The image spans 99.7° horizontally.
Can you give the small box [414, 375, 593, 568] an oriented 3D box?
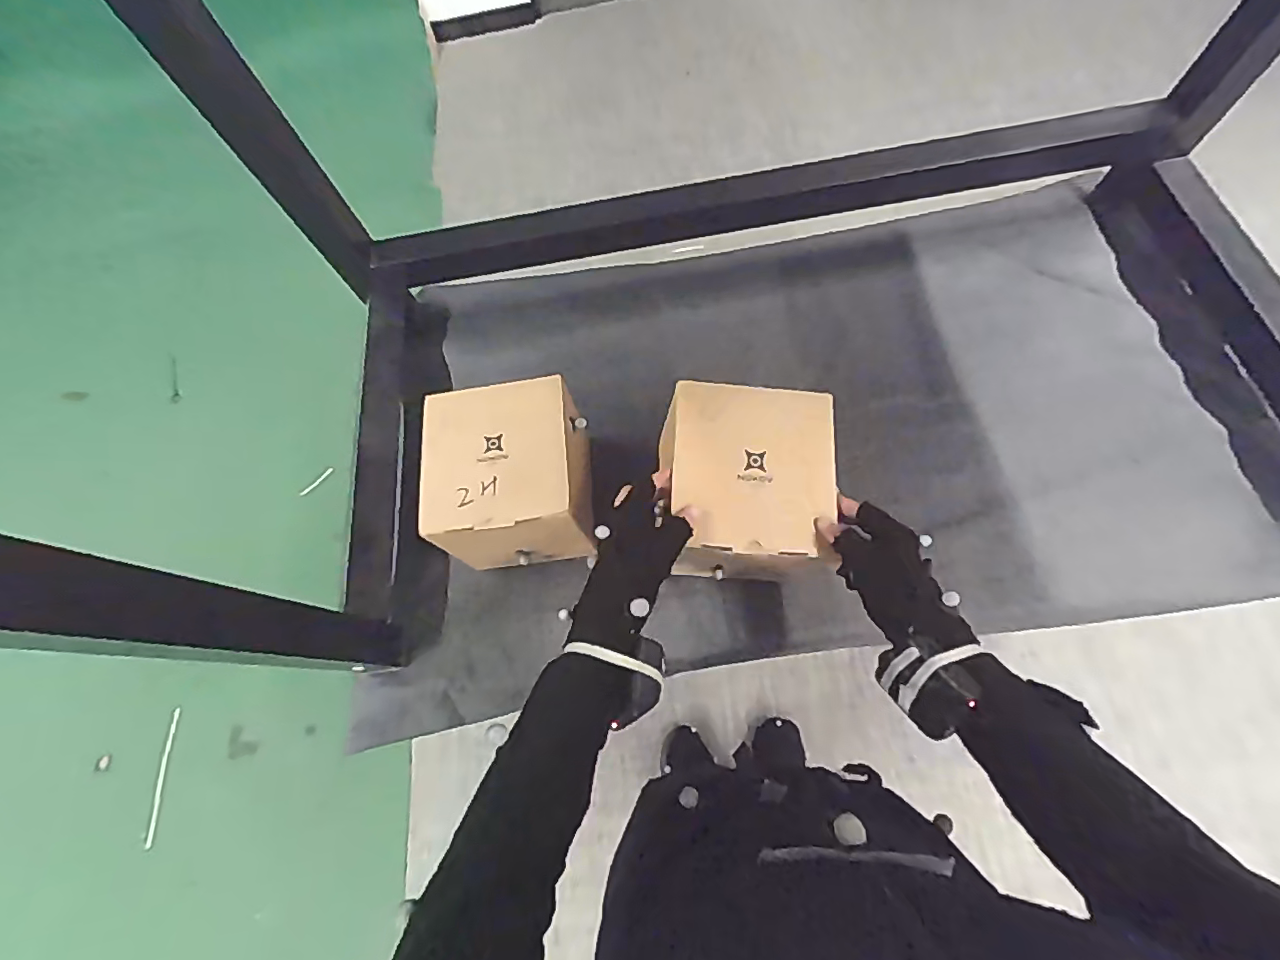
[{"bbox_3d":[-0.158,-0.003,0.673,0.168,0.176,0.179,-8,66,4],"label":"small box"}]
